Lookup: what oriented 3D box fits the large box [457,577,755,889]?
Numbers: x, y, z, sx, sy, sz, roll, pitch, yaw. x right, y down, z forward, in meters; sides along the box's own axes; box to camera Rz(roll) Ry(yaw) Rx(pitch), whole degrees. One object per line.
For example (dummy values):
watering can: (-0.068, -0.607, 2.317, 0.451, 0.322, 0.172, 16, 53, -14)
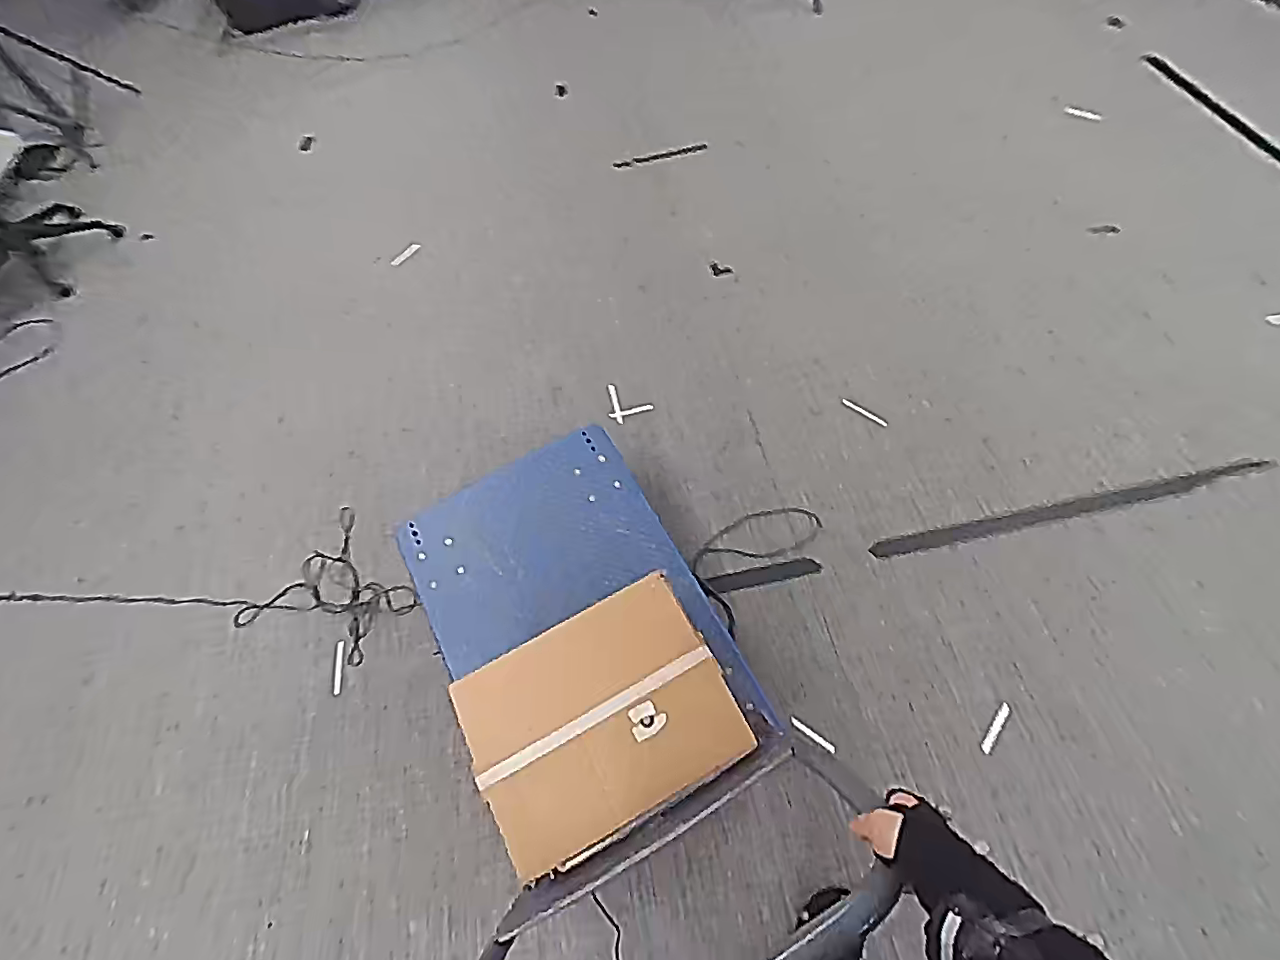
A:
large box: (-0.053, 0.442, 1.003, 0.408, 0.320, 0.320, -28, 69, -8)
